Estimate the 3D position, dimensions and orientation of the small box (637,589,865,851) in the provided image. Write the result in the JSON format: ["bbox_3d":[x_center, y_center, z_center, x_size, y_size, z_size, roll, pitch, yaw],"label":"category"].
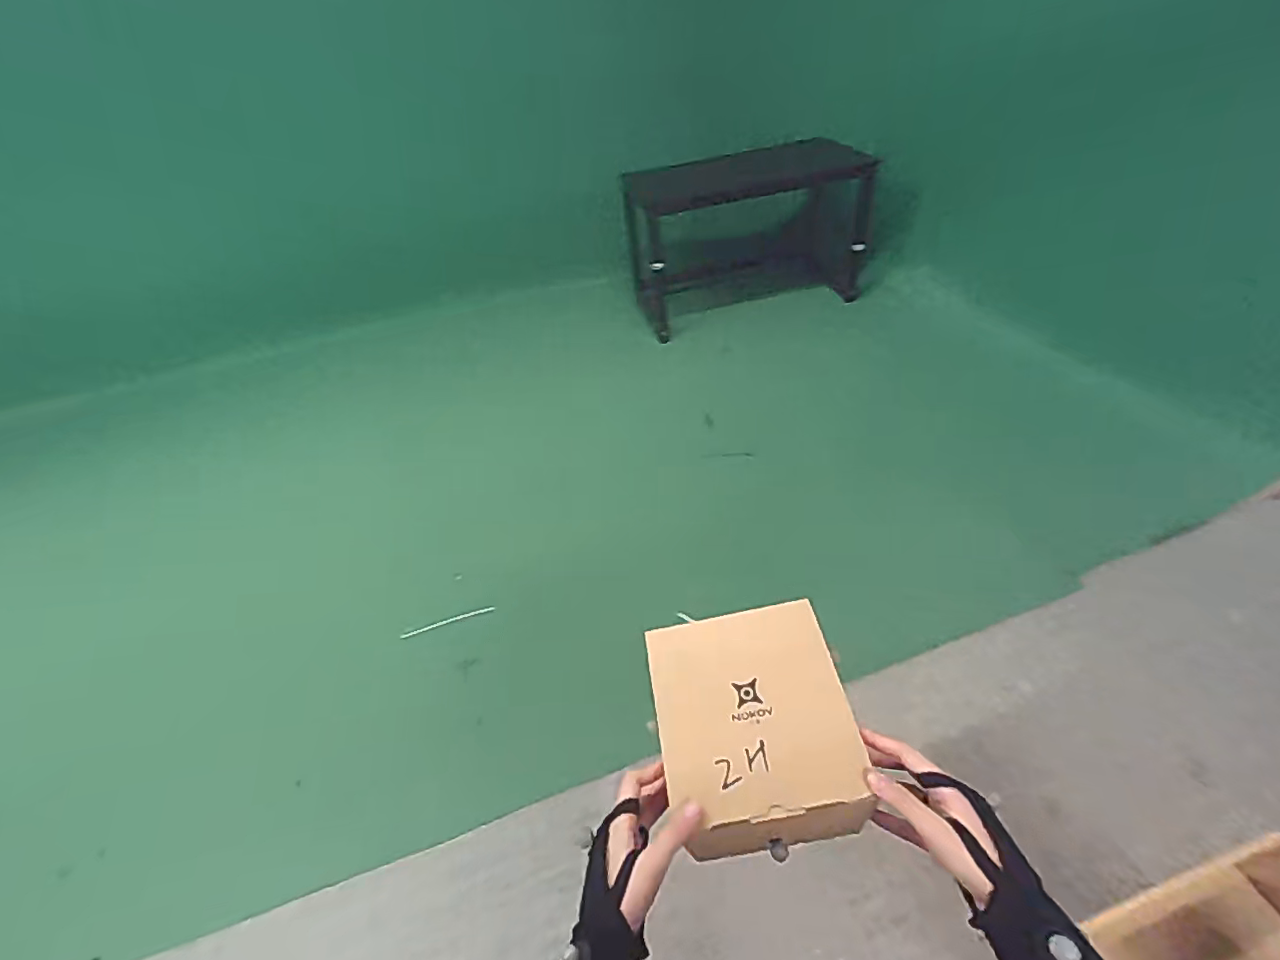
[{"bbox_3d":[0.100,0.238,0.534,0.168,0.176,0.179,-14,47,4],"label":"small box"}]
